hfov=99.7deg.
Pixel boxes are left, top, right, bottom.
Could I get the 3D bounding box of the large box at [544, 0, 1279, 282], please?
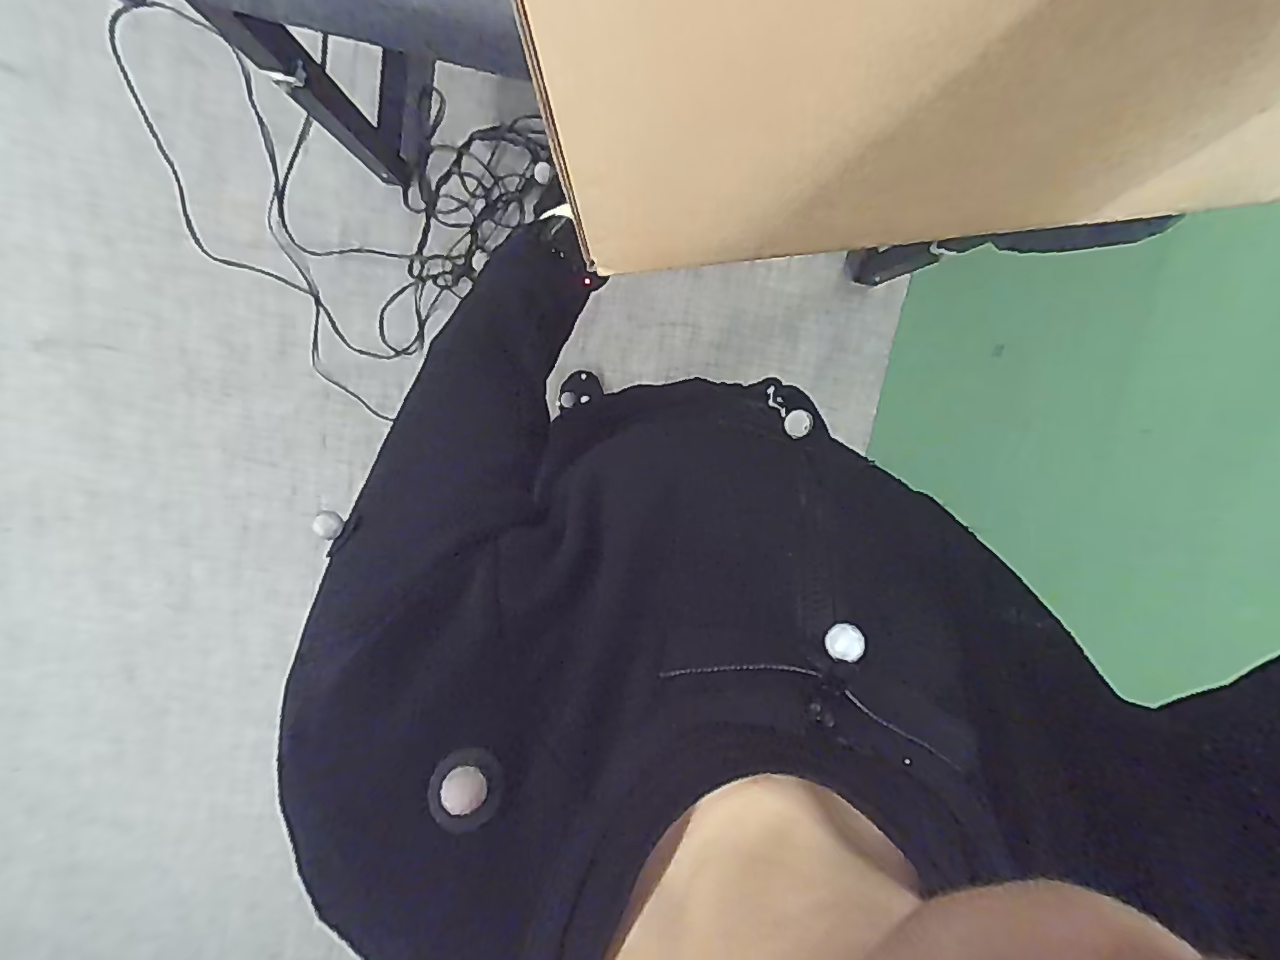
[{"bbox_3d":[0.161,-0.338,0.263,0.408,0.320,0.320,-4,139,11],"label":"large box"}]
